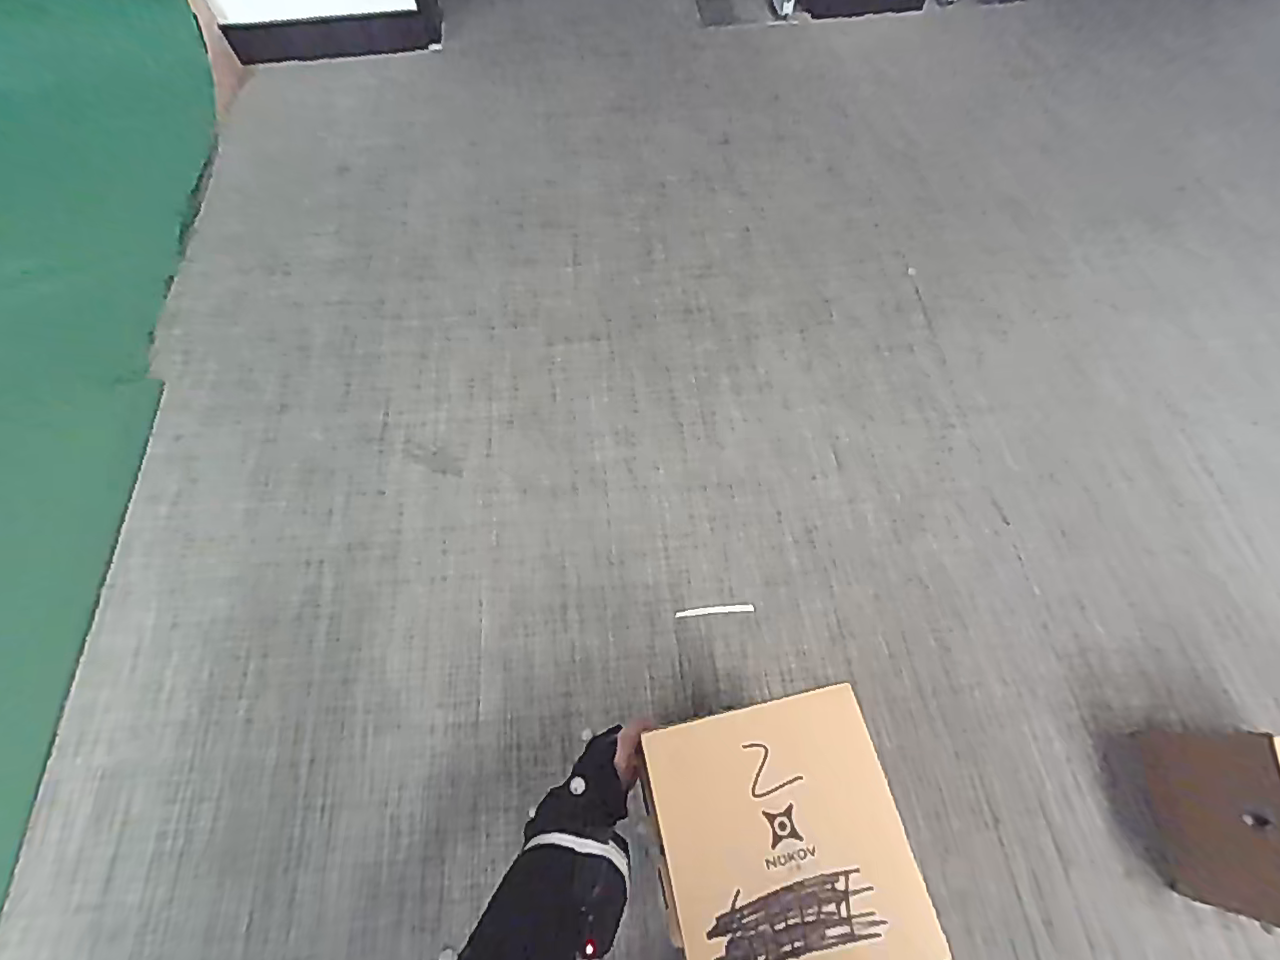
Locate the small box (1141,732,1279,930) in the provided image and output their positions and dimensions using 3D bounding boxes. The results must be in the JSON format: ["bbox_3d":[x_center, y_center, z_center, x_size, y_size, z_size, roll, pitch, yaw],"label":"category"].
[{"bbox_3d":[0.695,0.376,0.574,0.168,0.176,0.179,6,64,5],"label":"small box"}]
